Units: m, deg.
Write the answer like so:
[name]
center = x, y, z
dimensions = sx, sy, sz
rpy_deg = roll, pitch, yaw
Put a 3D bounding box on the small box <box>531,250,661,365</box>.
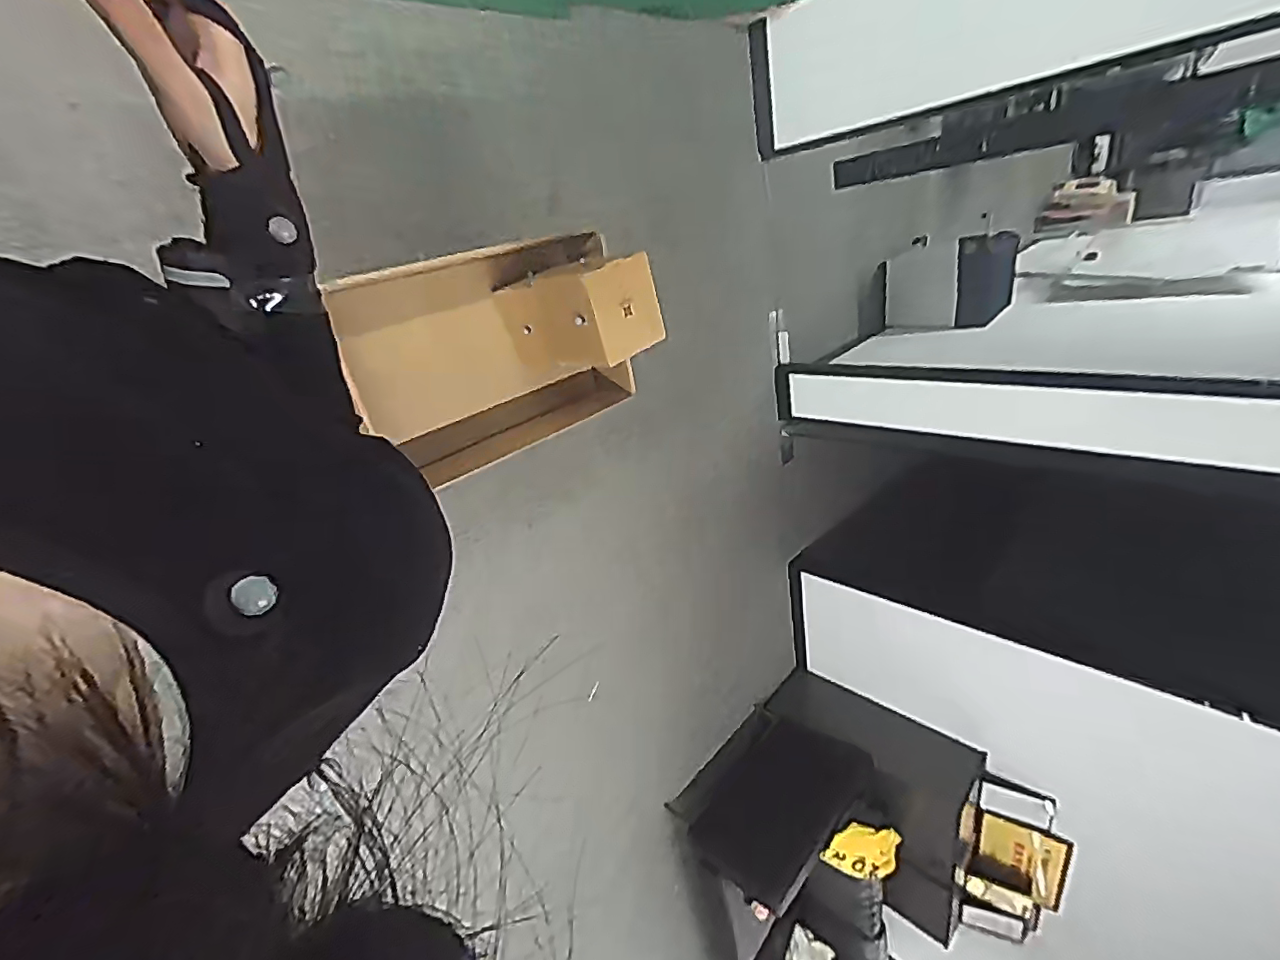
[small box]
center = -0.088, -0.344, 1.084
dimensions = 0.168, 0.176, 0.179
rpy_deg = -36, 123, -33
